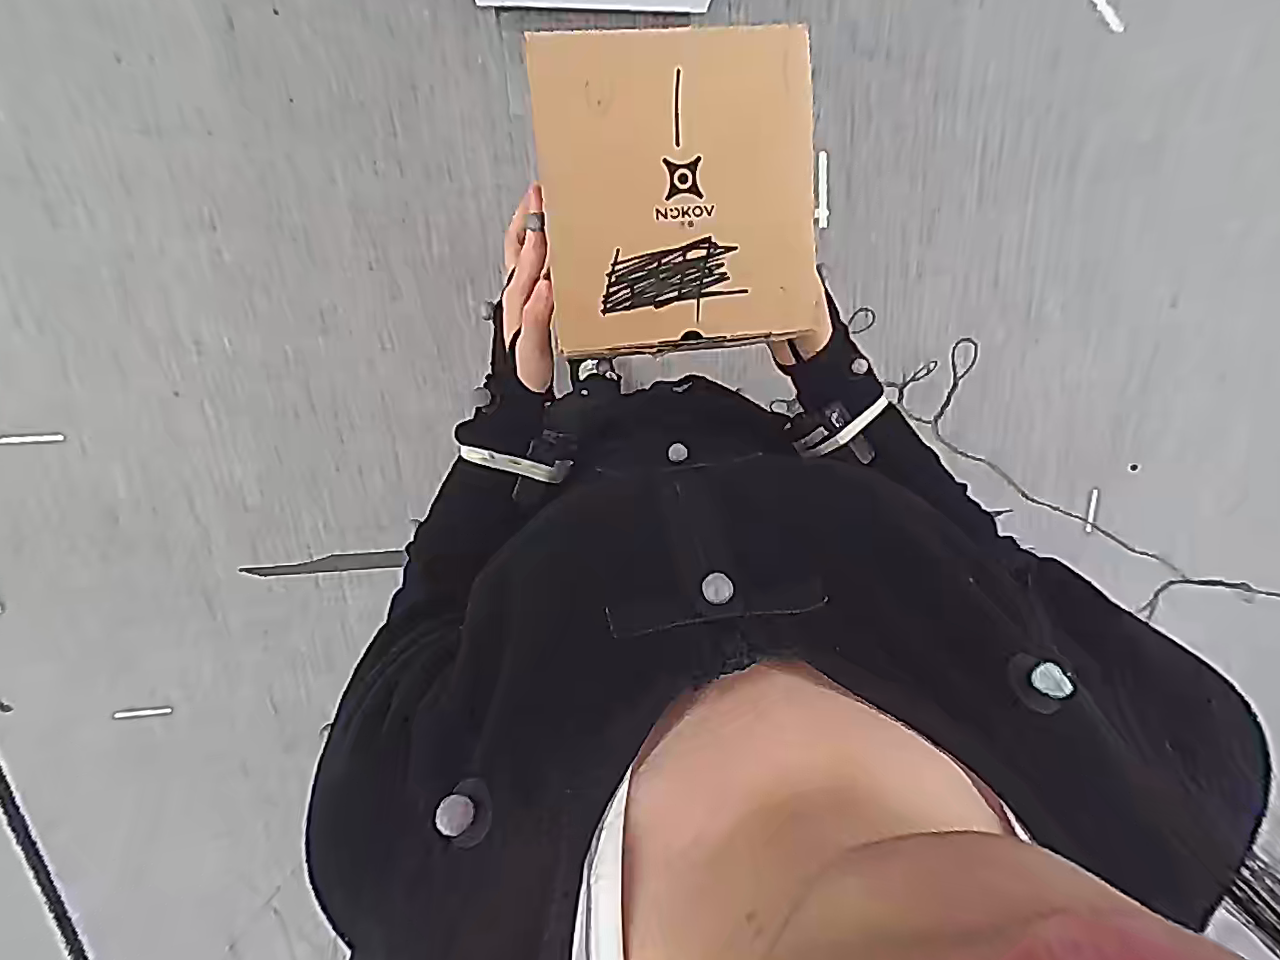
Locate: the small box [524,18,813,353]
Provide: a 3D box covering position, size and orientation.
[{"bbox_3d":[0.015,-0.188,0.398,0.168,0.176,0.179,-7,101,-6],"label":"small box"}]
